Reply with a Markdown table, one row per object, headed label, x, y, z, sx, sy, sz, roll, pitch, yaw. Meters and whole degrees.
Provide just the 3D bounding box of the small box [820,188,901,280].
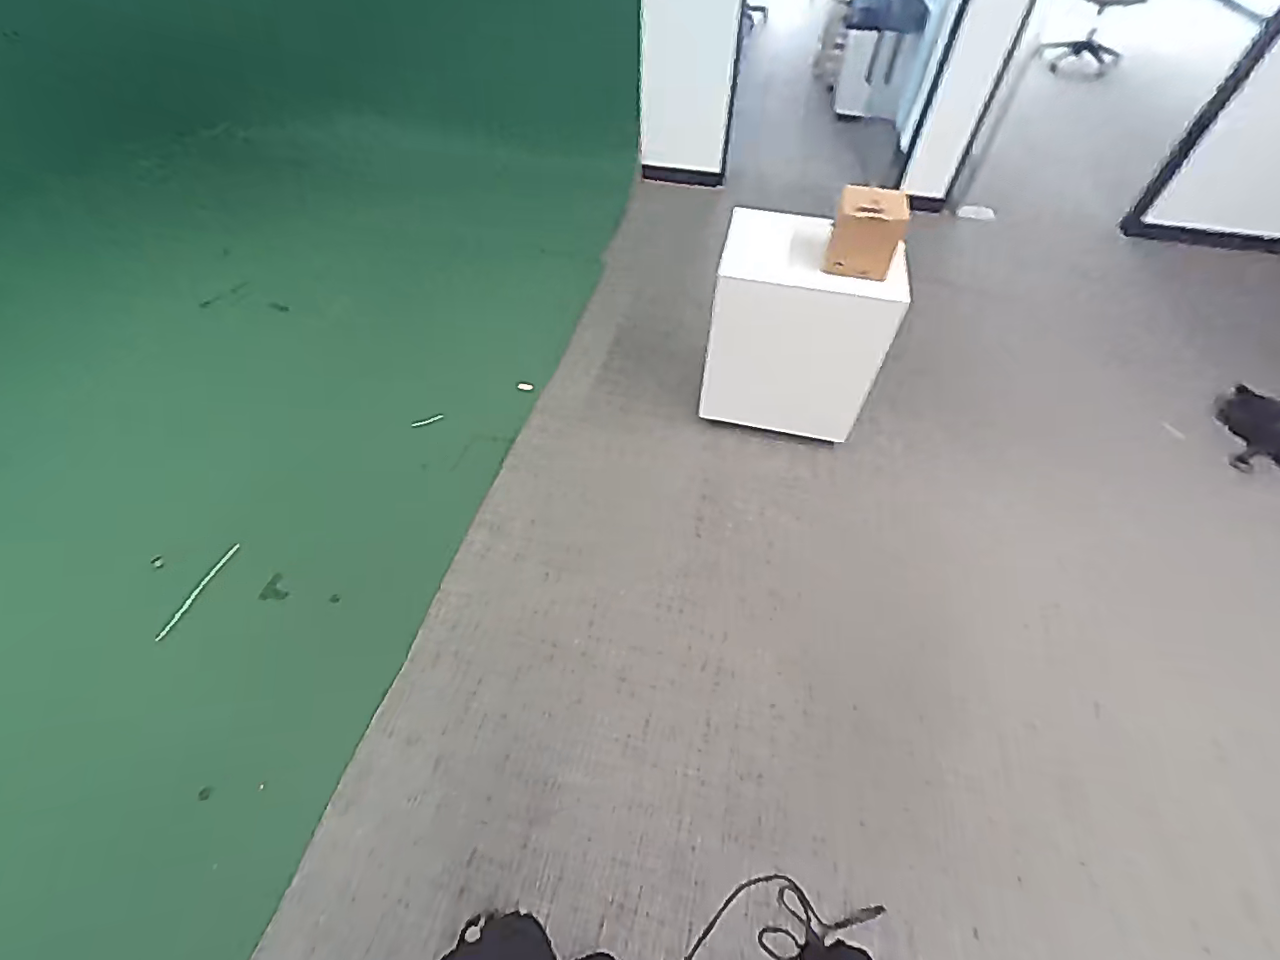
| label | x | y | z | sx | sy | sz | roll | pitch | yaw |
| --- | --- | --- | --- | --- | --- | --- | --- | --- | --- |
| small box | 0.601 | -0.671 | 1.483 | 0.168 | 0.176 | 0.179 | 12 | 52 | 9 |
